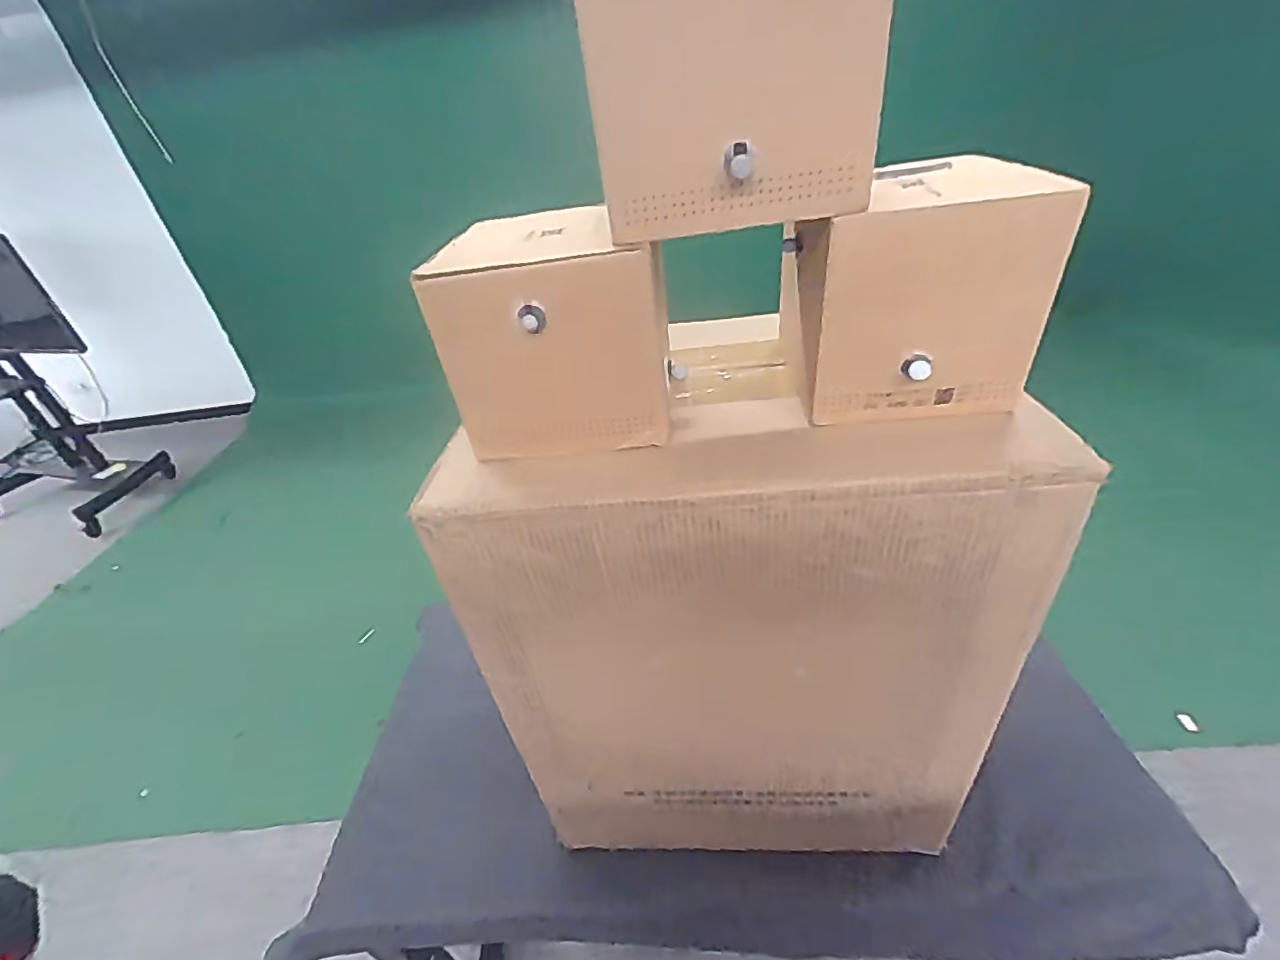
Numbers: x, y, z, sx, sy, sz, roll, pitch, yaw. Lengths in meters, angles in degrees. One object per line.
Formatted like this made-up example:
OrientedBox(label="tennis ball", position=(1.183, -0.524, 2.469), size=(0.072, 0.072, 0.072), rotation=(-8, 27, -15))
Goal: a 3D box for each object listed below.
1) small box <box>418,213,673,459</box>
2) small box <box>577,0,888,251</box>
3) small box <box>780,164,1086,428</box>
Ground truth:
OrientedBox(label="small box", position=(-0.063, -0.130, 0.491), size=(0.179, 0.176, 0.168), rotation=(-3, 38, 5))
OrientedBox(label="small box", position=(0.056, -0.277, 0.384), size=(0.179, 0.176, 0.168), rotation=(-6, 37, 3))
OrientedBox(label="small box", position=(0.221, -0.162, 0.472), size=(0.168, 0.176, 0.179), rotation=(-3, 38, 6))
